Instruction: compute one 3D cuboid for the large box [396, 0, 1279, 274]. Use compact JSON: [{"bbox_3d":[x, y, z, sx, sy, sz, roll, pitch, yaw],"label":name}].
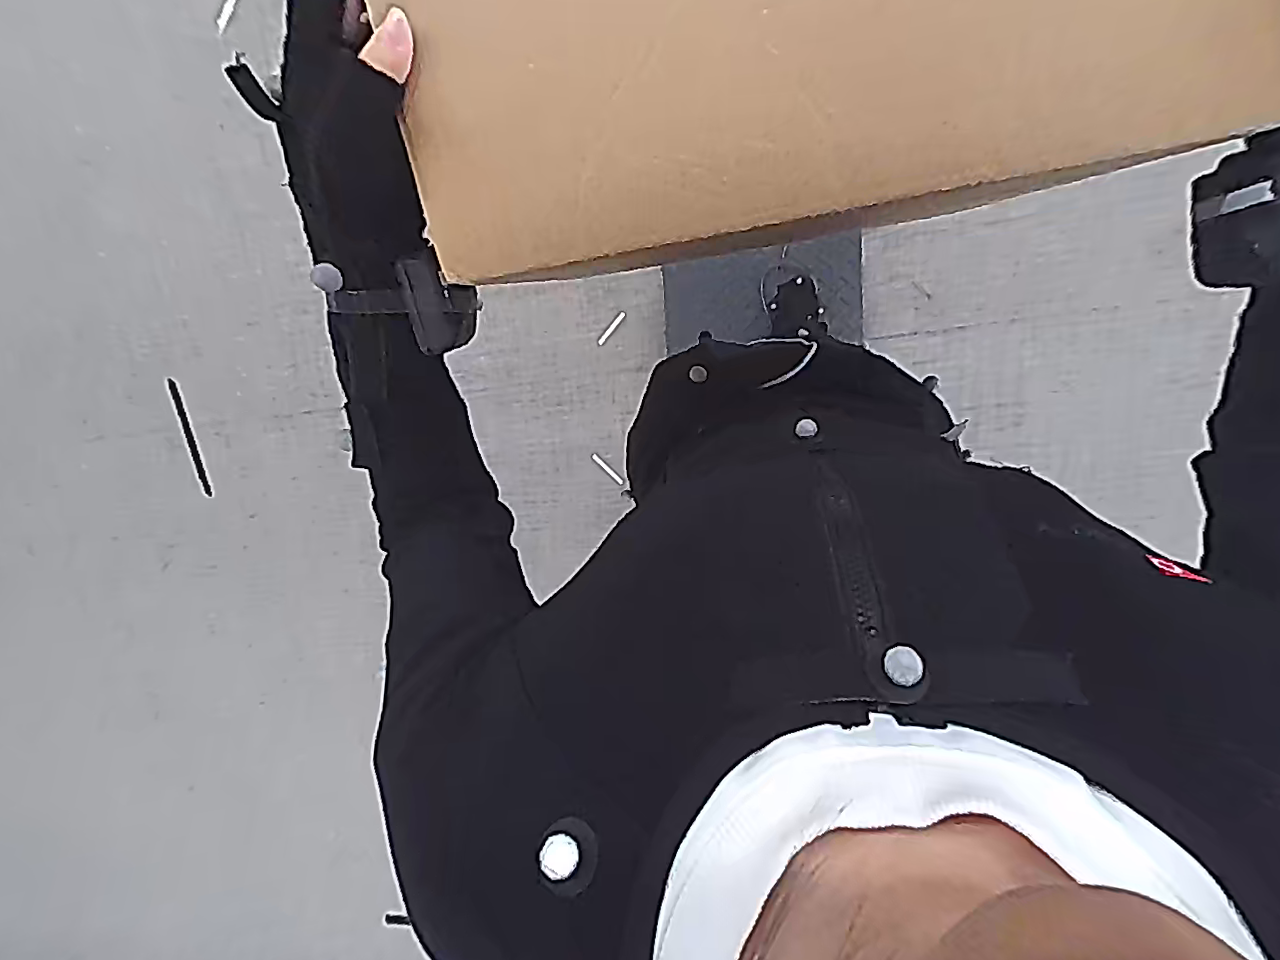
[{"bbox_3d":[0.081,-0.341,0.371,0.408,0.320,0.320,-7,110,10],"label":"large box"}]
